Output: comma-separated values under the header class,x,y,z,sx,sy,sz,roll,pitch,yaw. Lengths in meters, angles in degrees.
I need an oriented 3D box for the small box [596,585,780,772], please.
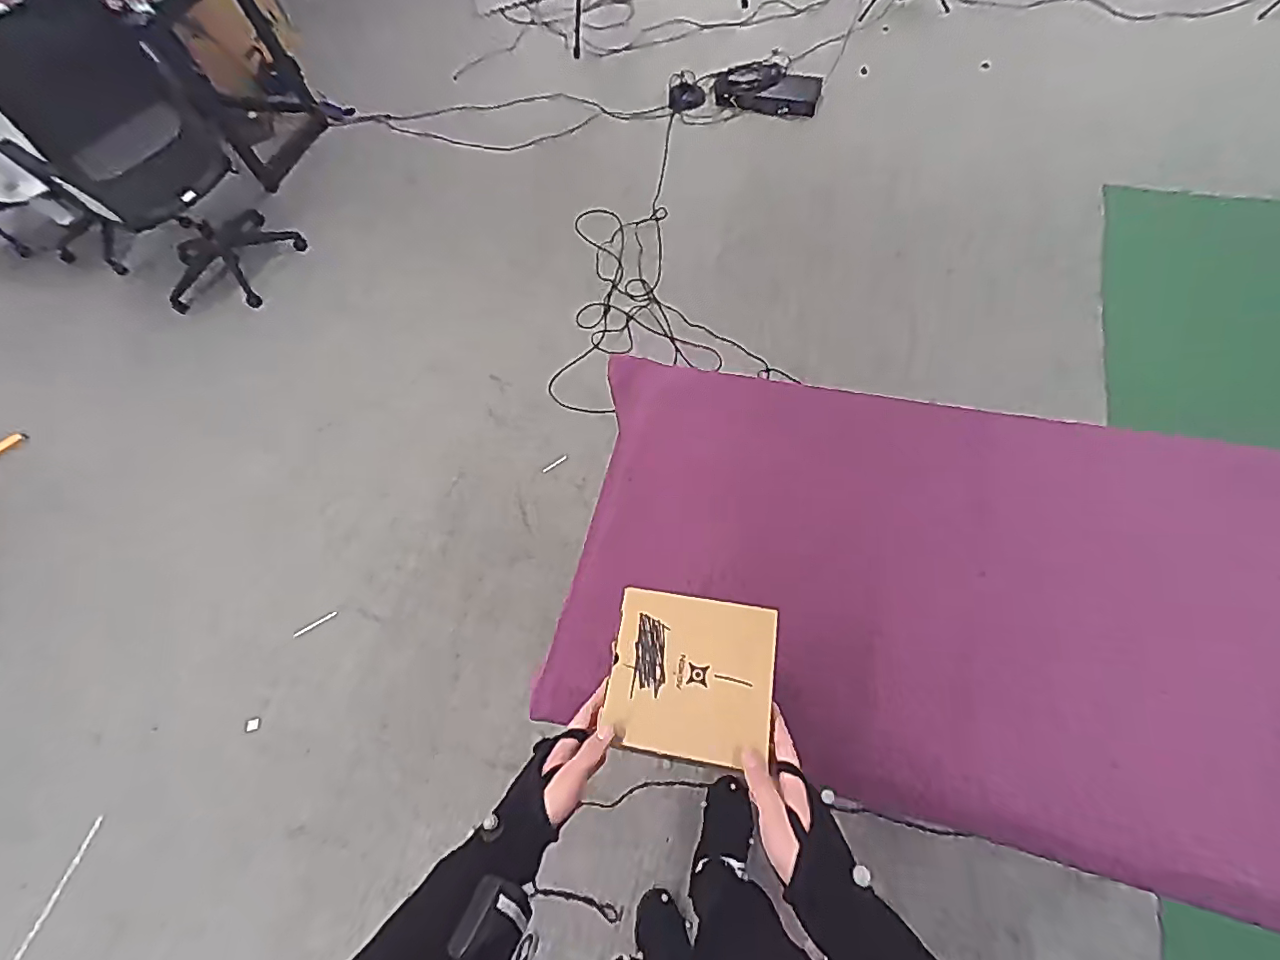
class,x,y,z,sx,sy,sz,roll,pitch,yaw
small box,0.061,0.240,0.641,0.179,0.176,0.168,7,62,9
